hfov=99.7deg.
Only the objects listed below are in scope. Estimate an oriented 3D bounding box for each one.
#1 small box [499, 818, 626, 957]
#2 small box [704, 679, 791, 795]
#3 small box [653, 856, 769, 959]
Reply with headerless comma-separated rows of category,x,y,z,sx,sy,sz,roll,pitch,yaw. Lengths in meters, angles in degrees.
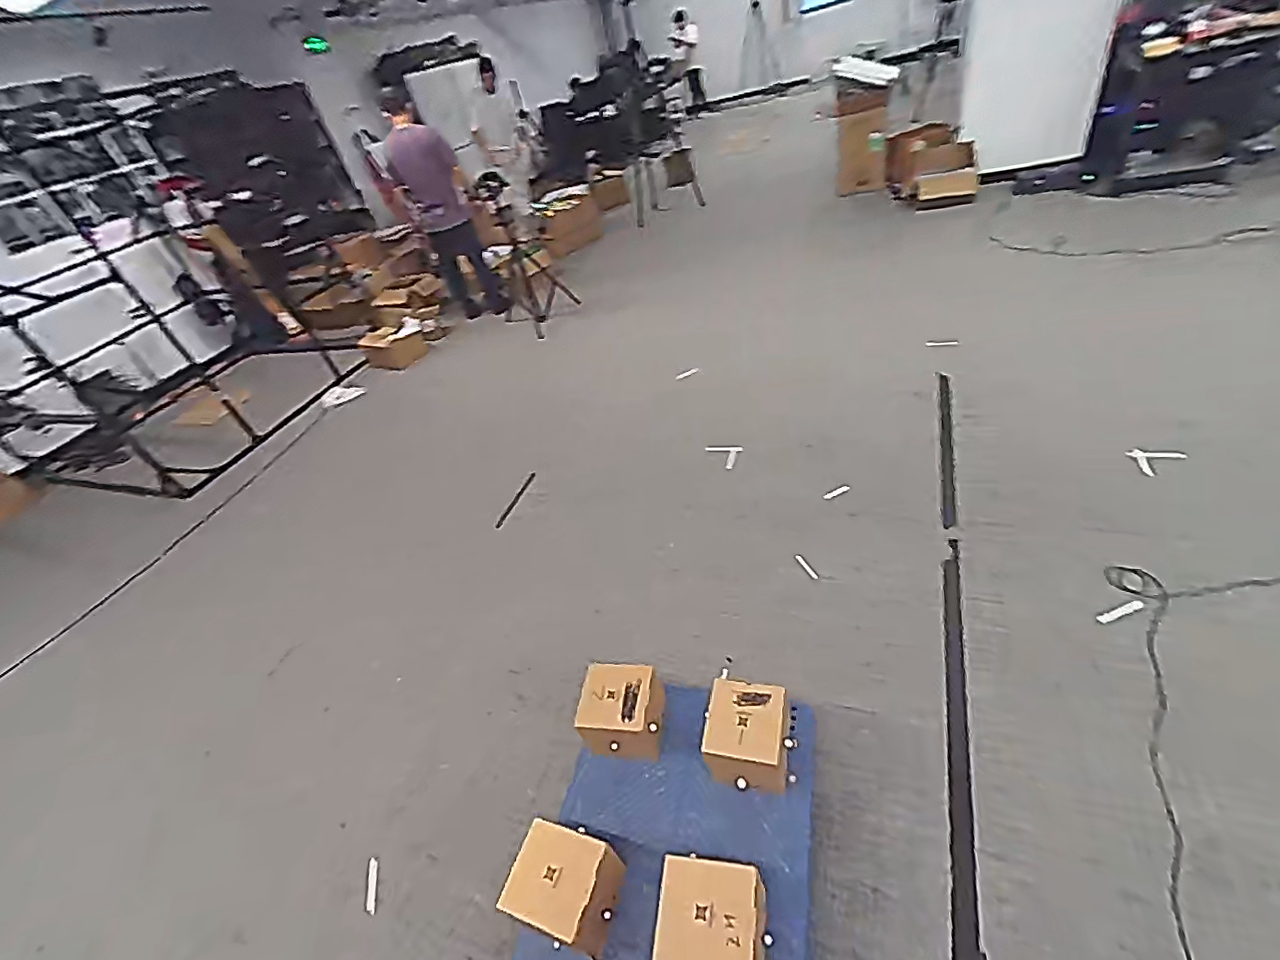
small box,-0.149,0.837,1.109,0.179,0.176,0.168,4,43,23
small box,0.254,0.590,1.246,0.168,0.176,0.179,0,43,22
small box,0.138,0.830,1.002,0.179,0.176,0.168,-4,41,18
